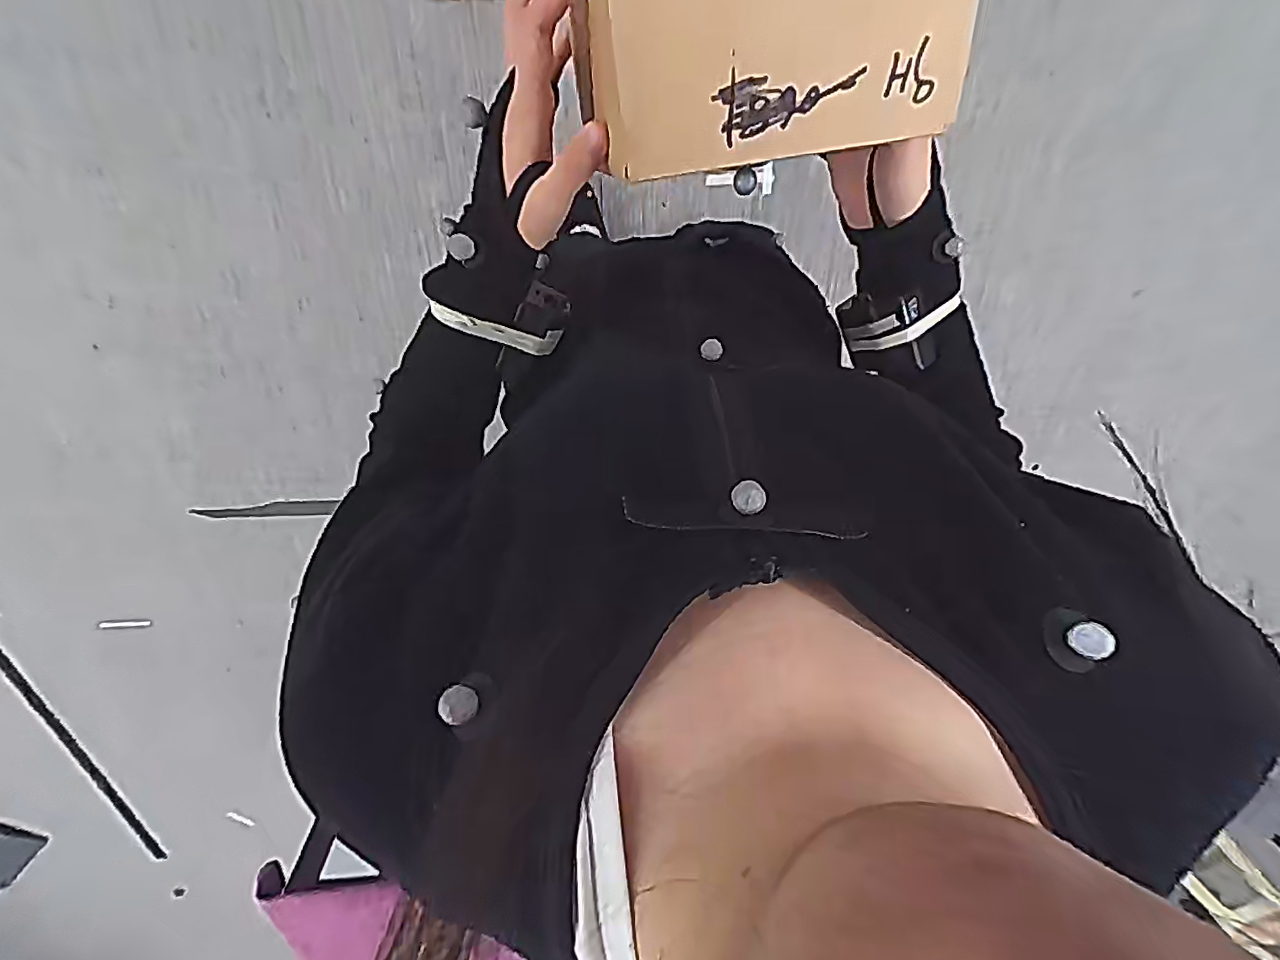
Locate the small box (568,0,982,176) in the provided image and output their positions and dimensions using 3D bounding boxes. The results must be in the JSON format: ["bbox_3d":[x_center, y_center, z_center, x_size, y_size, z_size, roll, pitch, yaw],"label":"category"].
[{"bbox_3d":[0.048,-0.265,0.273,0.168,0.176,0.179,-11,123,-4],"label":"small box"}]

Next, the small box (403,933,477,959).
[{"bbox_3d":[-0.506,1.266,1.345,0.168,0.176,0.179,3,119,-7],"label":"small box"}]

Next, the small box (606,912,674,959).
[{"bbox_3d":[0.000,1.227,1.361,0.168,0.176,0.179,-1,118,-4],"label":"small box"}]
